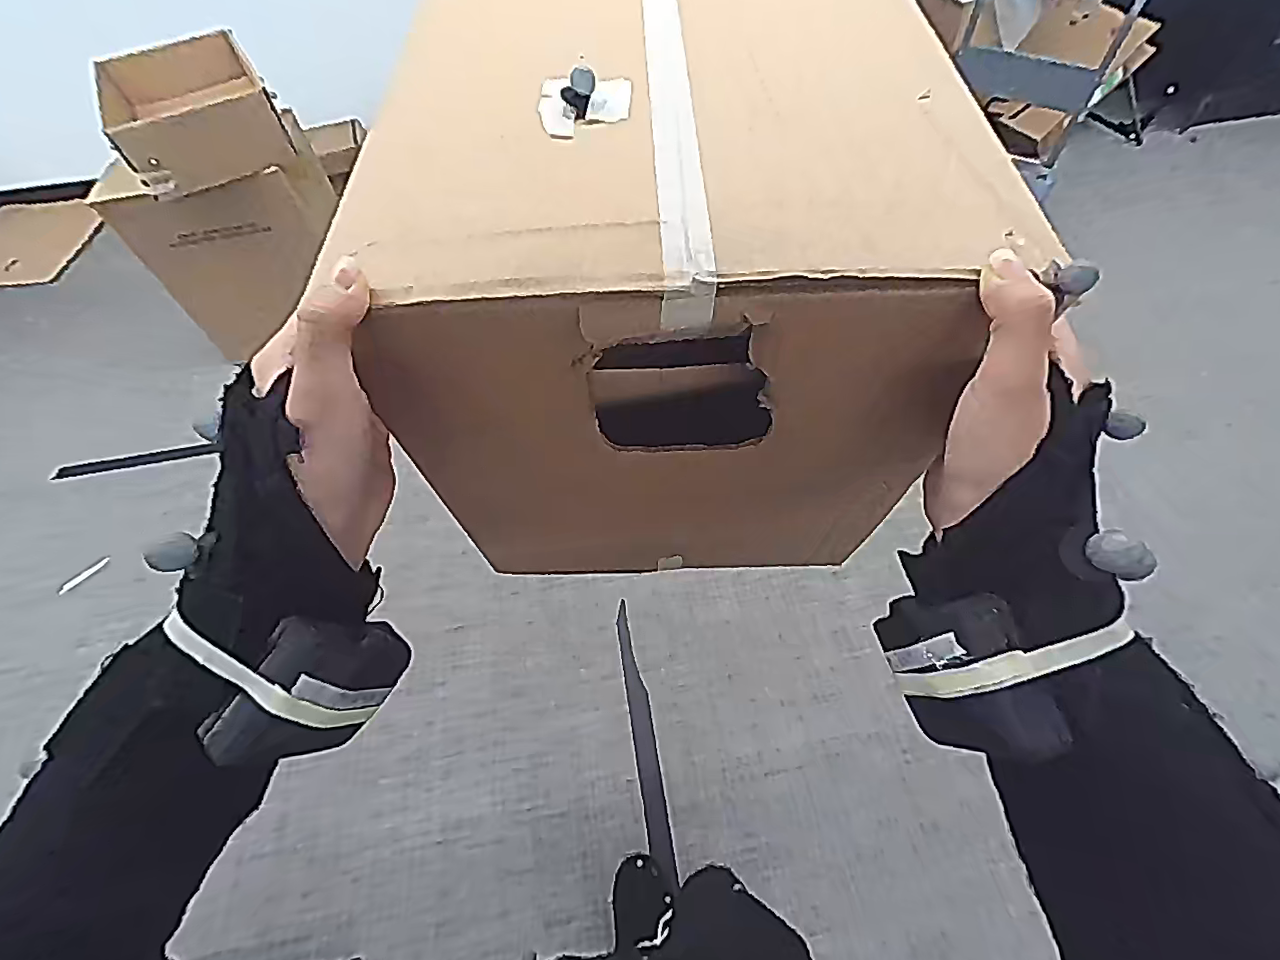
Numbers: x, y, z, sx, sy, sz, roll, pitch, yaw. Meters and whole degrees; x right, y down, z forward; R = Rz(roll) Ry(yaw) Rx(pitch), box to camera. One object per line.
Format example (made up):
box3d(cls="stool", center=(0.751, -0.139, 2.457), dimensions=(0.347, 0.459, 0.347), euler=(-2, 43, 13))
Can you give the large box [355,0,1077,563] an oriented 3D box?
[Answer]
box3d(cls="large box", center=(0.024, -0.175, 0.449), dimensions=(0.320, 0.320, 0.408), euler=(-3, 61, 1))
